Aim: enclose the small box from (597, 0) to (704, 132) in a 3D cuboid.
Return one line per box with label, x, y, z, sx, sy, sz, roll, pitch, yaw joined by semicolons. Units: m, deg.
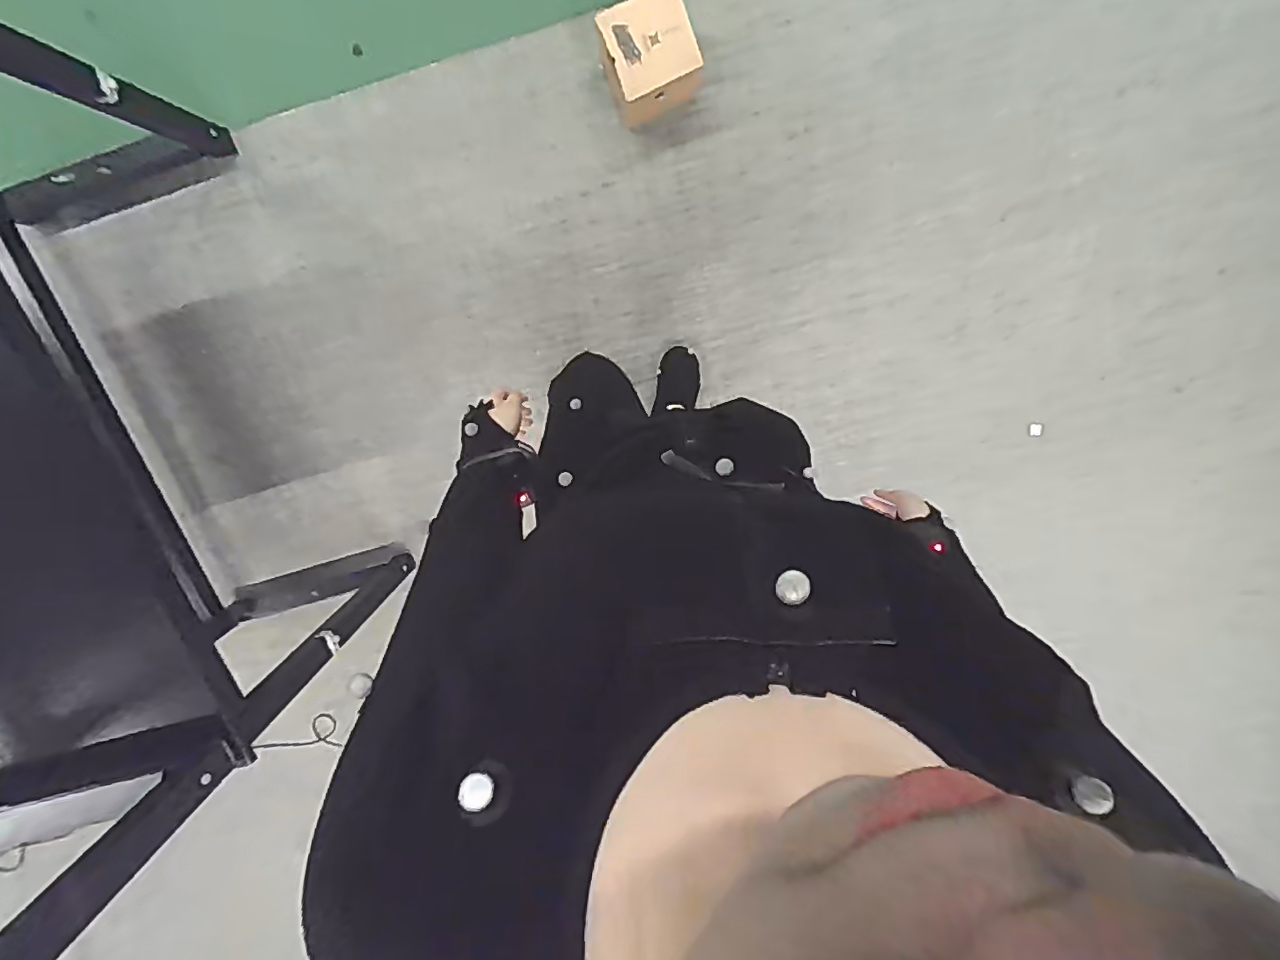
small box;0.022;-0.892;1.165;0.179;0.176;0.168;-22;105;5
